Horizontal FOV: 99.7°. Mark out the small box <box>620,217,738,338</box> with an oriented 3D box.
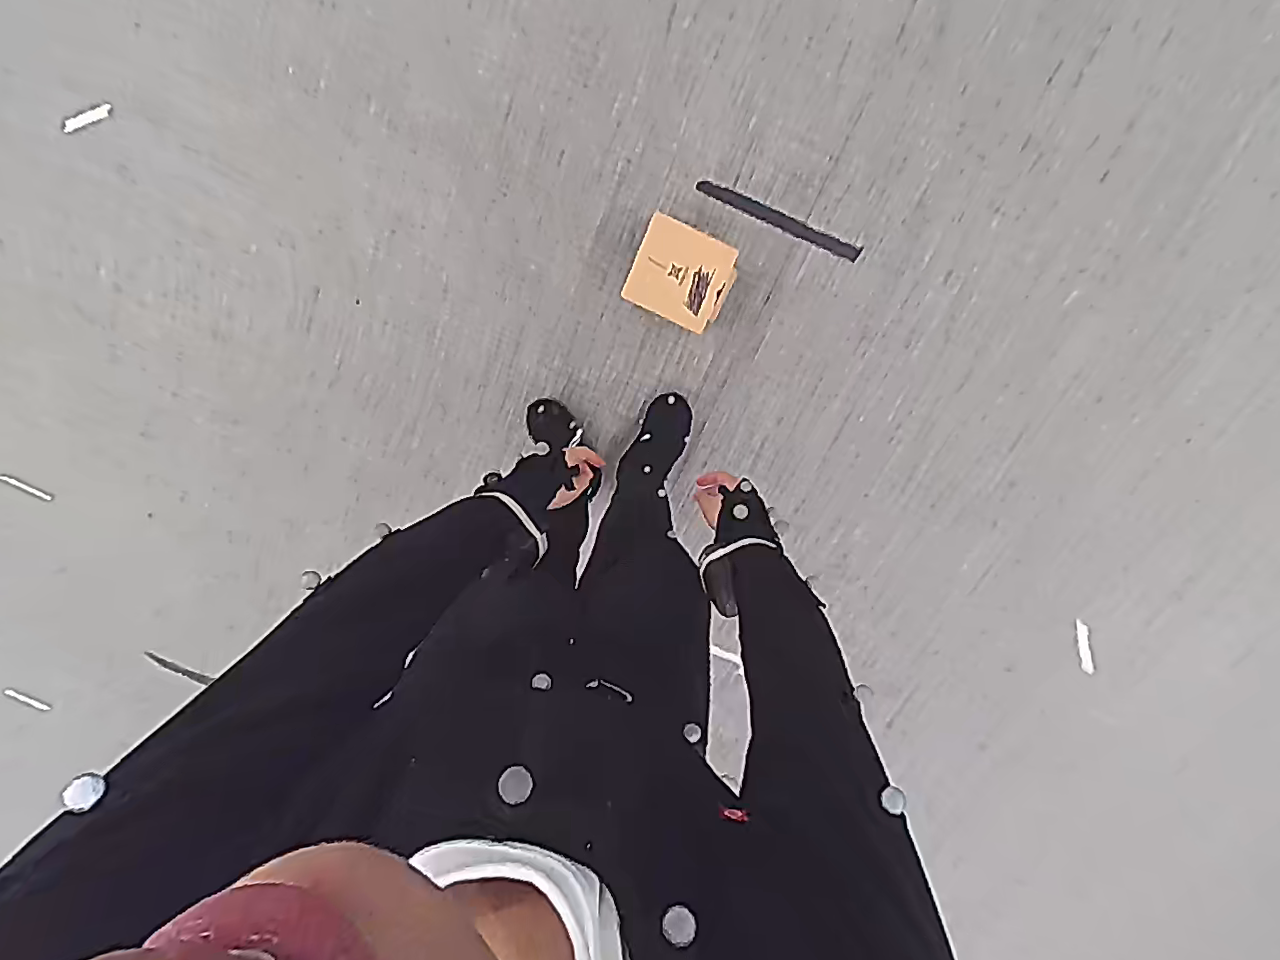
[{"bbox_3d":[0.082,-0.405,1.097,0.179,0.176,0.168,26,109,-1],"label":"small box"}]
